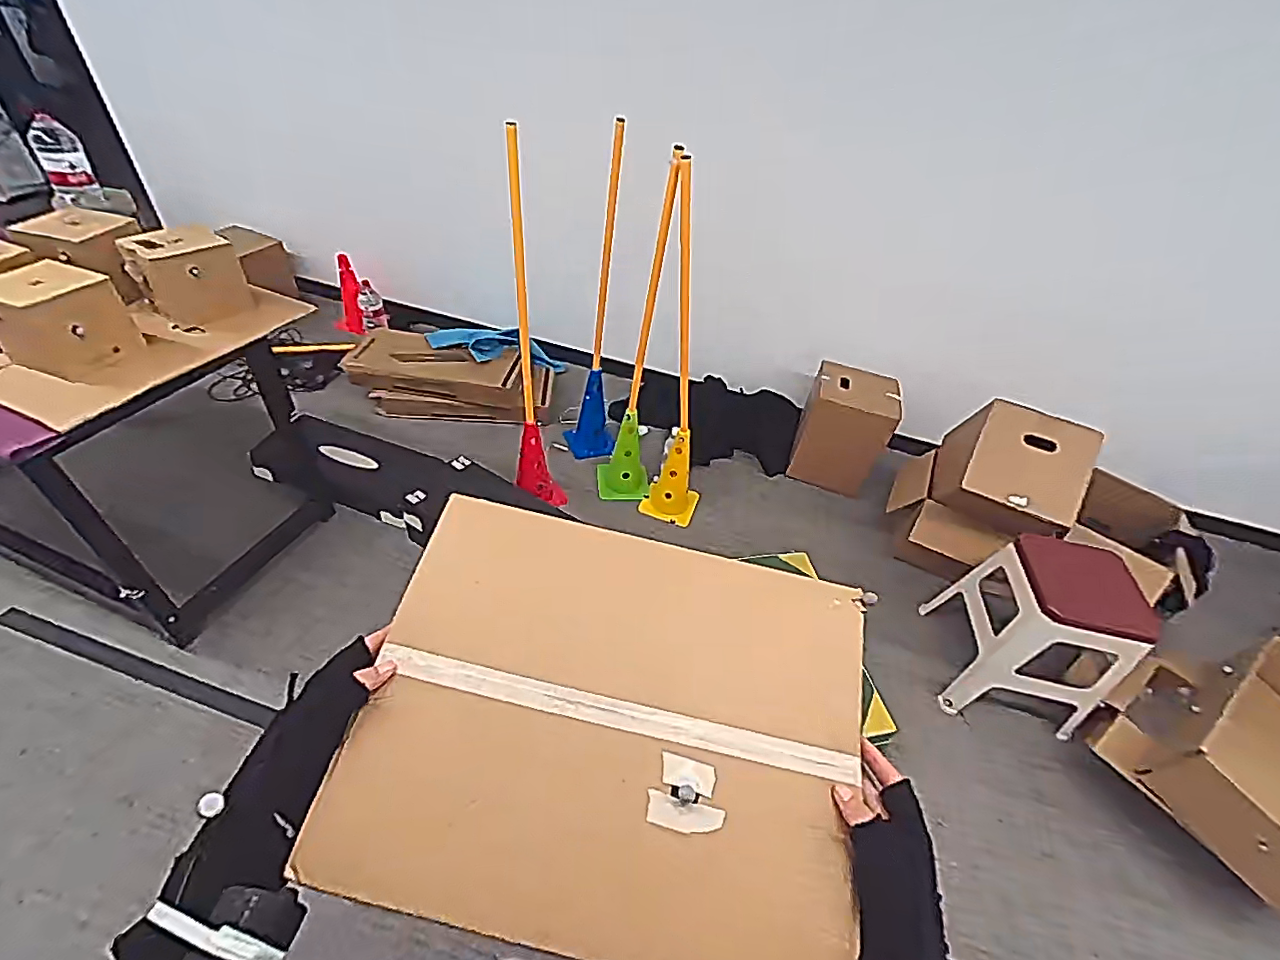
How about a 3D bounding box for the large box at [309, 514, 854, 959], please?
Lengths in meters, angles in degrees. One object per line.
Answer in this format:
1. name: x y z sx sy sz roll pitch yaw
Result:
1. large box: -0.031 0.274 0.585 0.408 0.320 0.320 13 61 2
